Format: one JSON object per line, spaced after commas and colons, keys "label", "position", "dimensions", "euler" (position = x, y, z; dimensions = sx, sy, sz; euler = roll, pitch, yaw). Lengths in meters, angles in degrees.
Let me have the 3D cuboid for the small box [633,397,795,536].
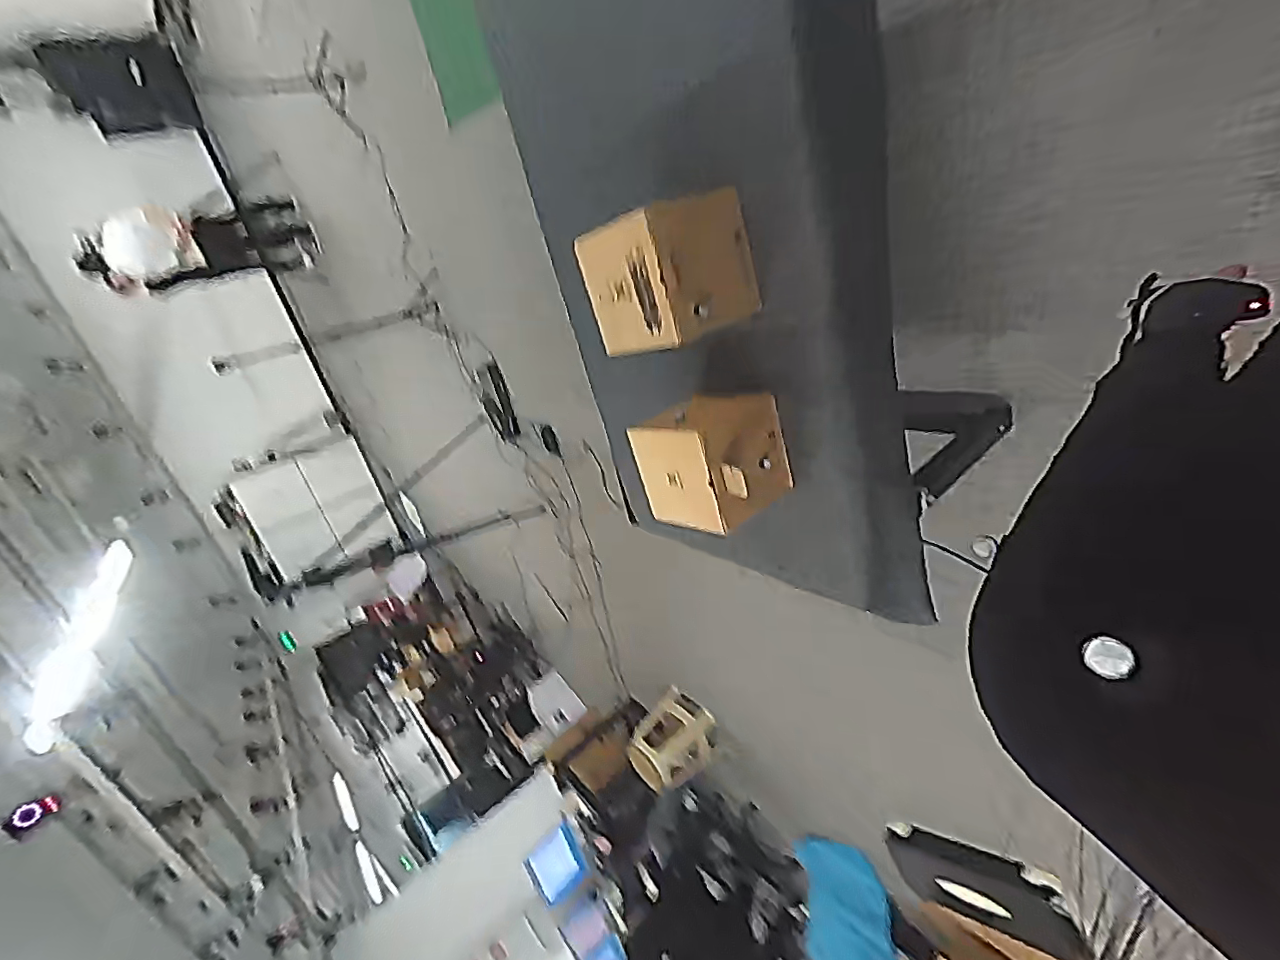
{"label": "small box", "position": [0.121, -0.030, 0.879], "dimensions": [0.179, 0.176, 0.168], "euler": [7, 120, 53]}
